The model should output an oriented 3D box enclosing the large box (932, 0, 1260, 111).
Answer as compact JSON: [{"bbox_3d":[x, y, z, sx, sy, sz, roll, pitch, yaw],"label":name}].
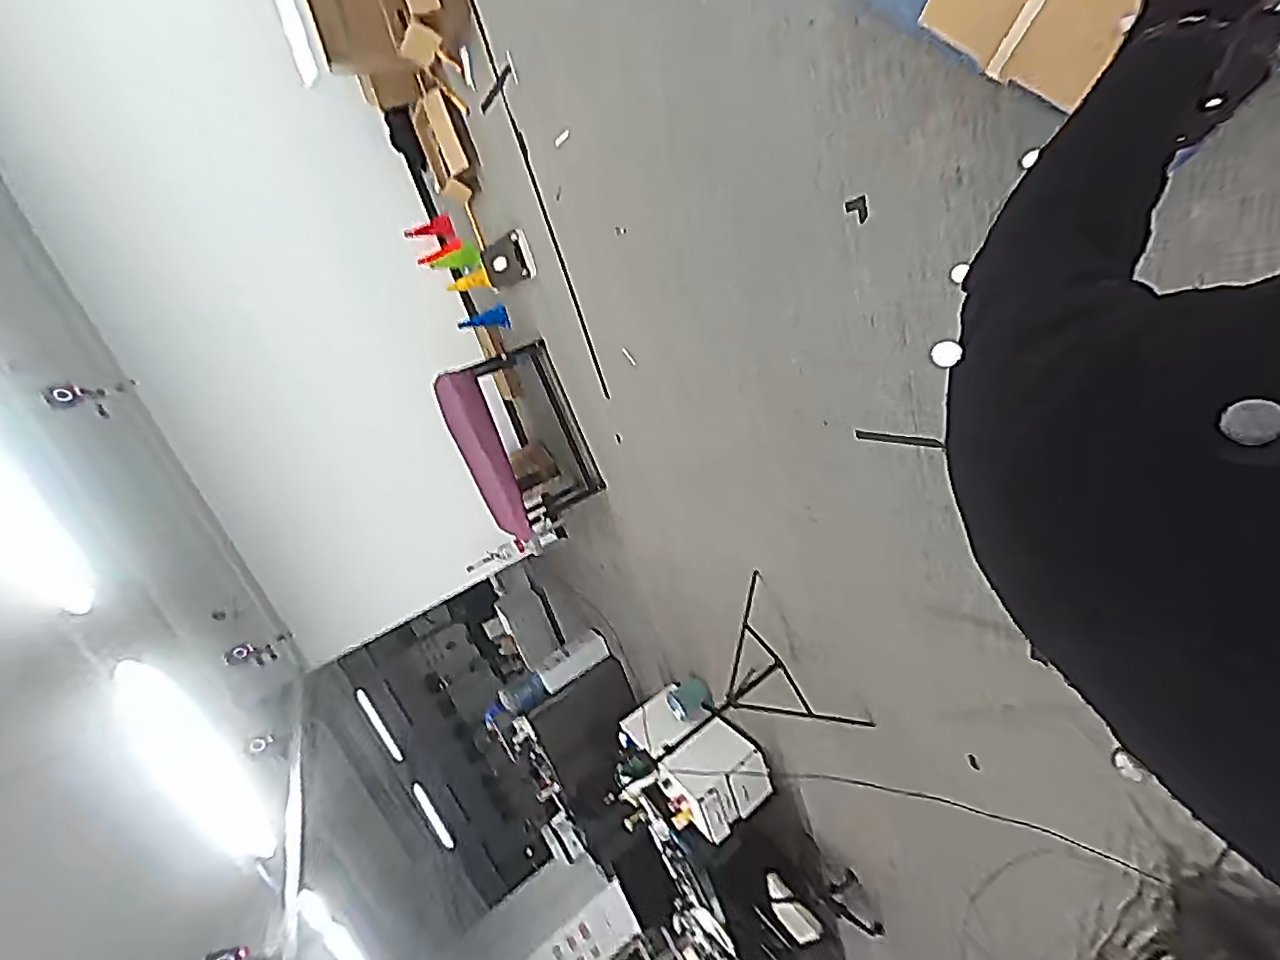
[{"bbox_3d":[0.694,-0.779,0.698,0.320,0.320,0.408,51,152,20],"label":"large box"}]
